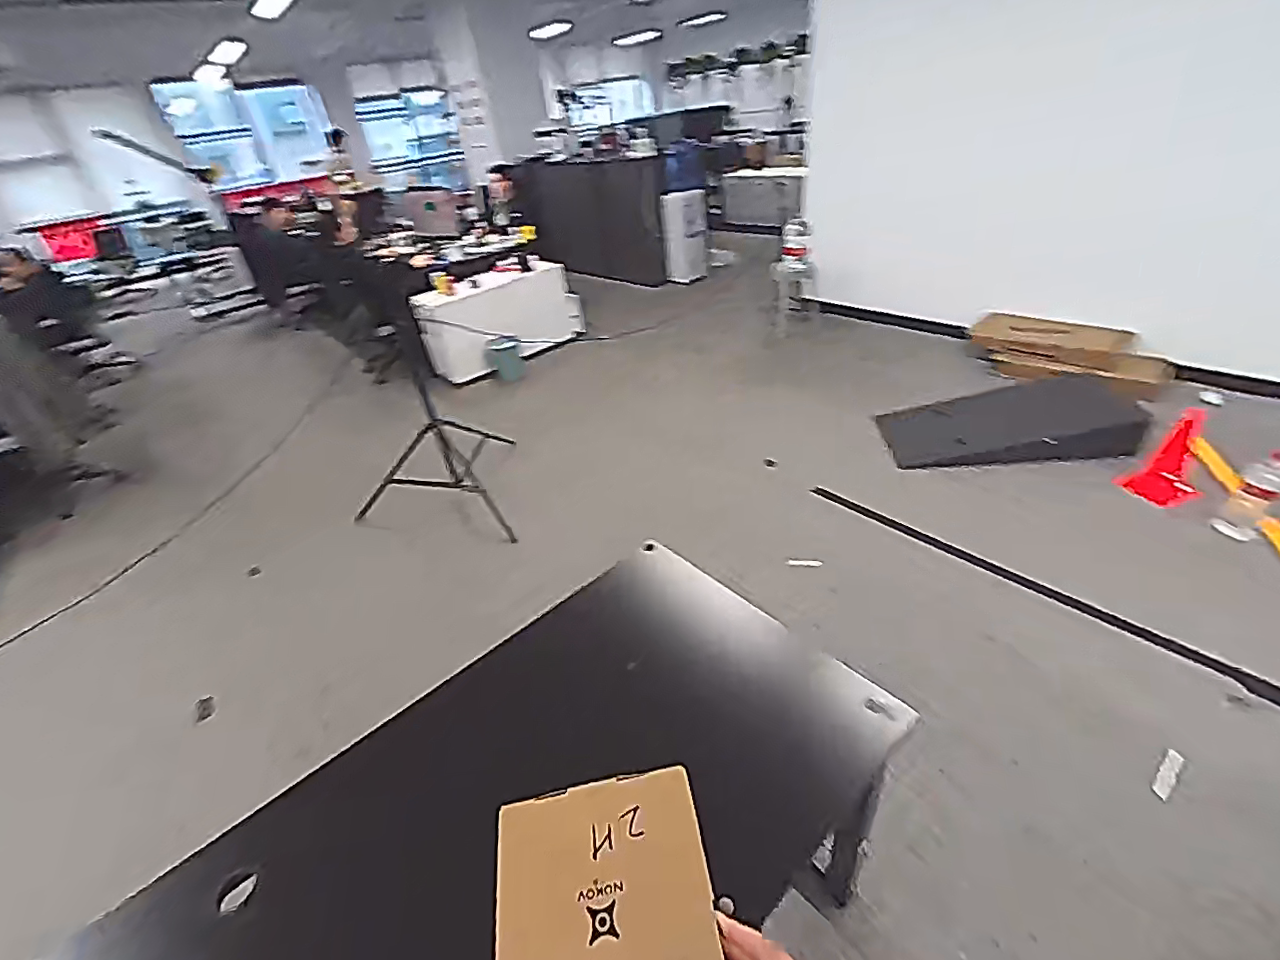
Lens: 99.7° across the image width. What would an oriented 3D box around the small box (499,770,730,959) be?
[{"bbox_3d":[-0.014,0.382,0.460,0.168,0.176,0.179,-12,42,-1],"label":"small box"}]
